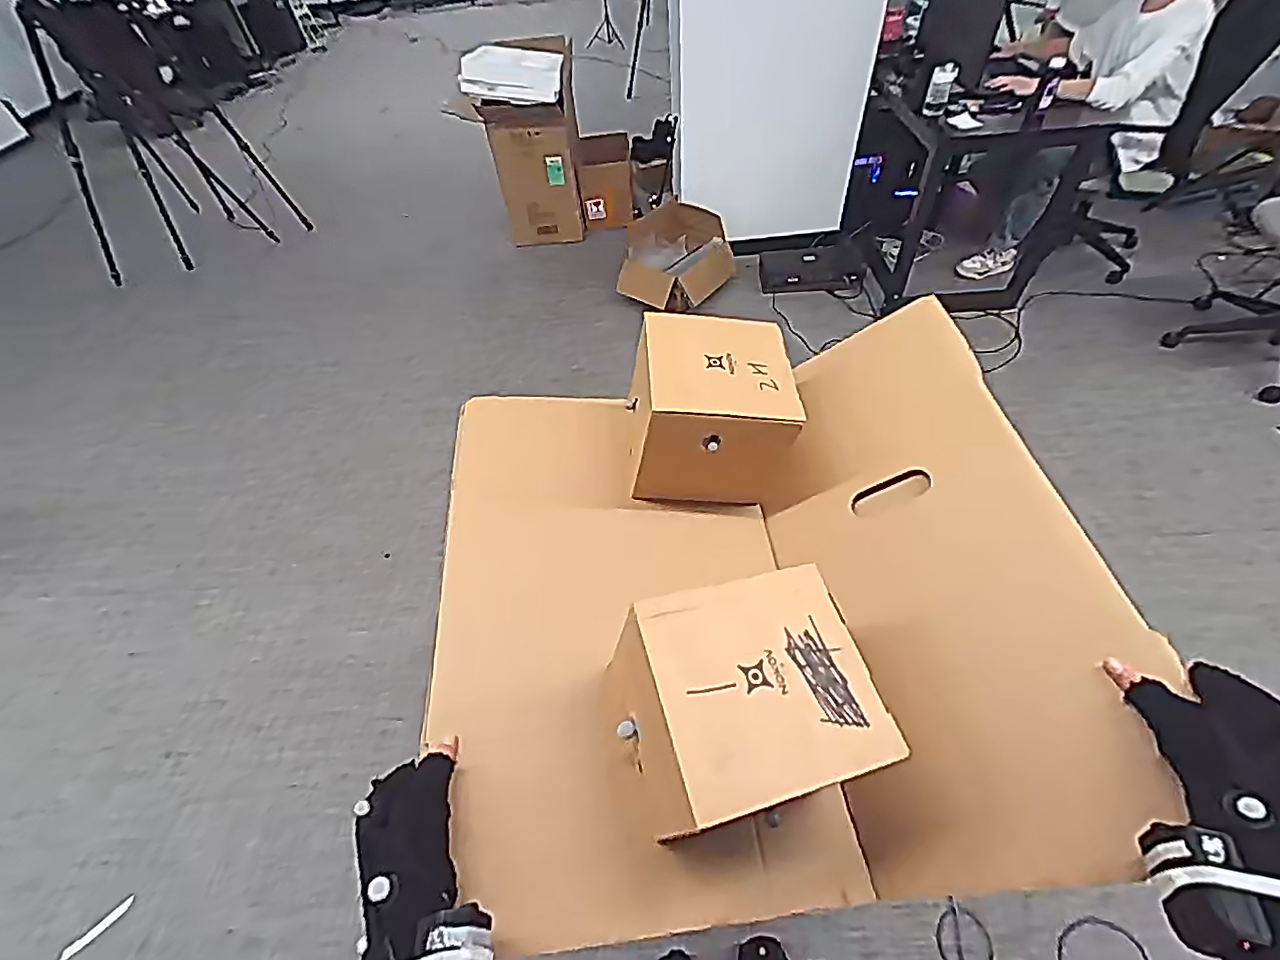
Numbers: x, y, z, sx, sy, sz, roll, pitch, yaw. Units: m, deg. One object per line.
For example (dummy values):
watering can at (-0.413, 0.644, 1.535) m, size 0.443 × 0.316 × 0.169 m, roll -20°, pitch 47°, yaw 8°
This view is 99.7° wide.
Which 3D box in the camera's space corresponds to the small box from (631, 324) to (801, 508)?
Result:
small box at (0.082, -0.076, 0.699) m, size 0.179 × 0.176 × 0.168 m, roll 4°, pitch 54°, yaw -8°

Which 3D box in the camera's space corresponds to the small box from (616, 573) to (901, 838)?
small box at (0.086, 0.207, 0.495) m, size 0.179 × 0.176 × 0.168 m, roll -9°, pitch 56°, yaw -15°
